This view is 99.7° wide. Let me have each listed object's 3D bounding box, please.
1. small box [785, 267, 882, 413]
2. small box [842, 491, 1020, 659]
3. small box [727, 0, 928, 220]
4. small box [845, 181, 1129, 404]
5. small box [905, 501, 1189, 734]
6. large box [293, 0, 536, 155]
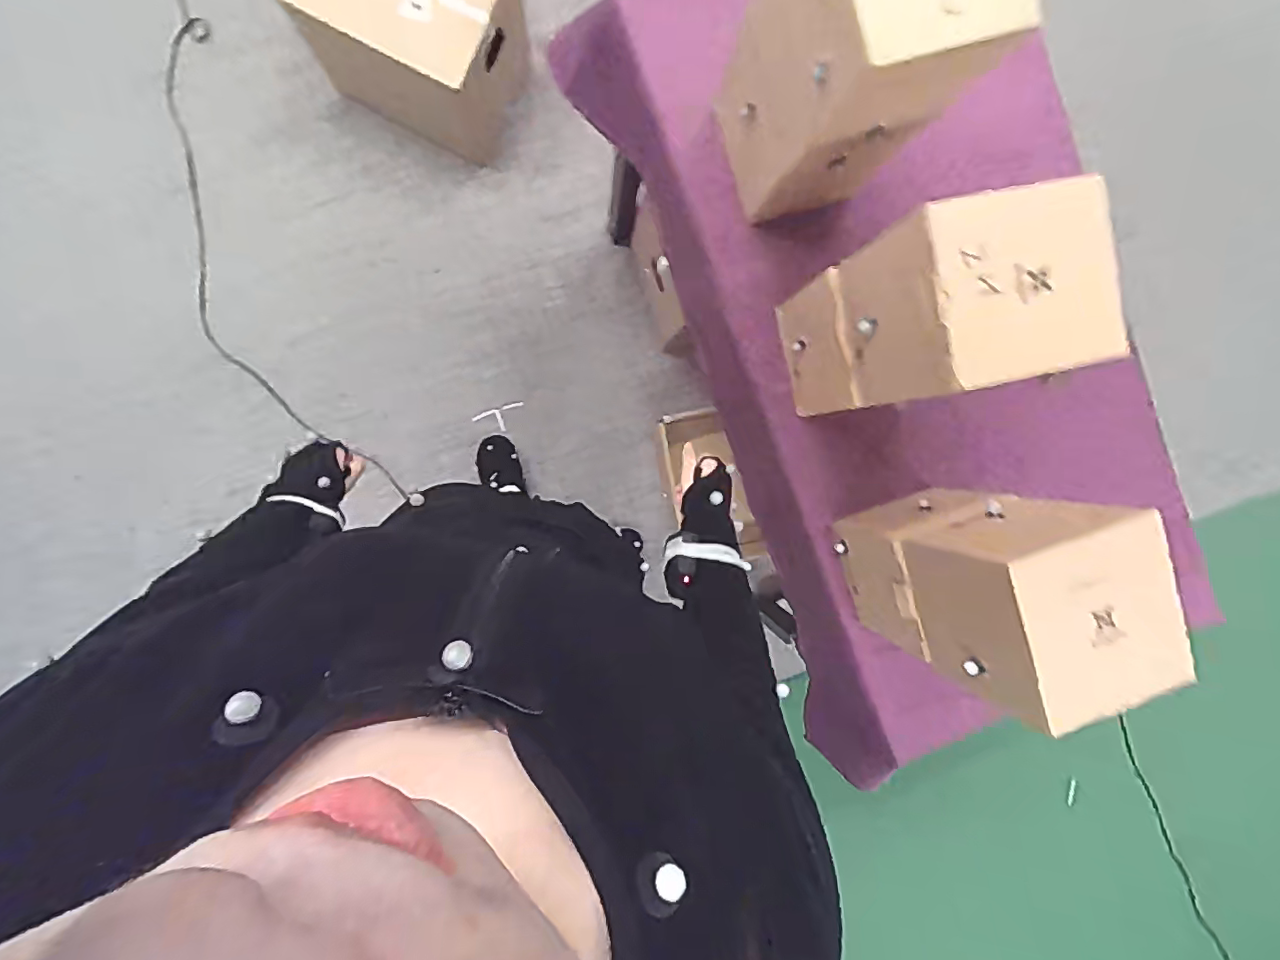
[{"bbox_3d":[0.318,-0.189,0.725,0.179,0.176,0.168,-13,95,-5],"label":"small box"},{"bbox_3d":[0.404,0.119,0.752,0.179,0.176,0.168,-18,95,-6],"label":"small box"},{"bbox_3d":[0.225,-0.470,0.694,0.168,0.176,0.179,-17,95,-4],"label":"small box"},{"bbox_3d":[0.343,-0.179,0.562,0.179,0.176,0.168,-12,94,-5],"label":"small box"},{"bbox_3d":[0.425,0.133,0.591,0.168,0.176,0.179,-16,95,-6],"label":"small box"},{"bbox_3d":[-0.492,-1.052,1.244,0.408,0.320,0.320,24,92,-8],"label":"large box"}]
